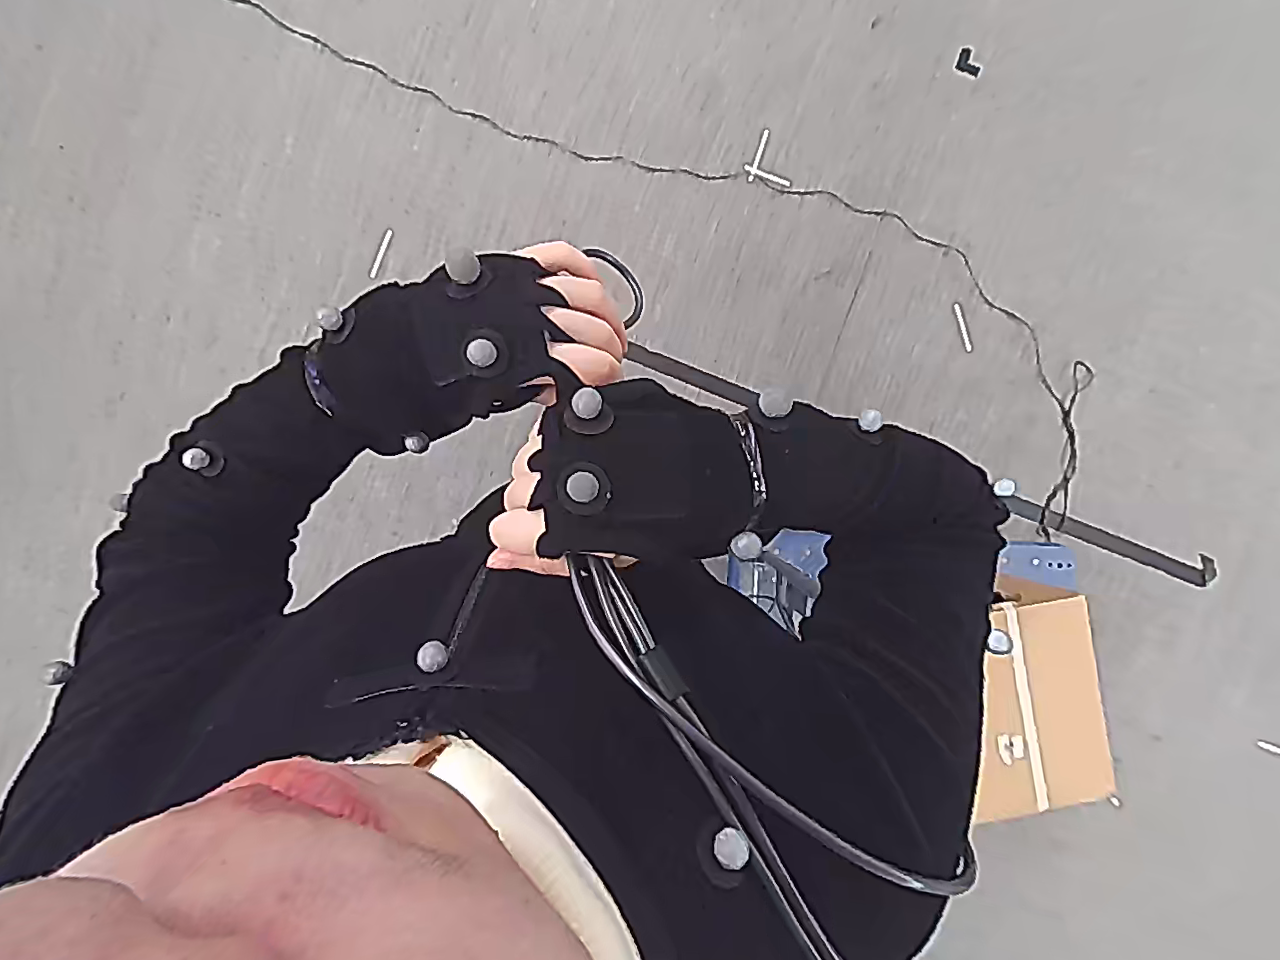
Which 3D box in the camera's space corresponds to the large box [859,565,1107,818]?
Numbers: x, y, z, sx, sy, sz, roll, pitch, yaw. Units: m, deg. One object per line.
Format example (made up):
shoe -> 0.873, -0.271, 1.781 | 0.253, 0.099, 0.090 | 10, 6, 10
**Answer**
large box -> 0.728, 0.434, 1.199 | 0.320, 0.320, 0.408 | -9, 91, -1
